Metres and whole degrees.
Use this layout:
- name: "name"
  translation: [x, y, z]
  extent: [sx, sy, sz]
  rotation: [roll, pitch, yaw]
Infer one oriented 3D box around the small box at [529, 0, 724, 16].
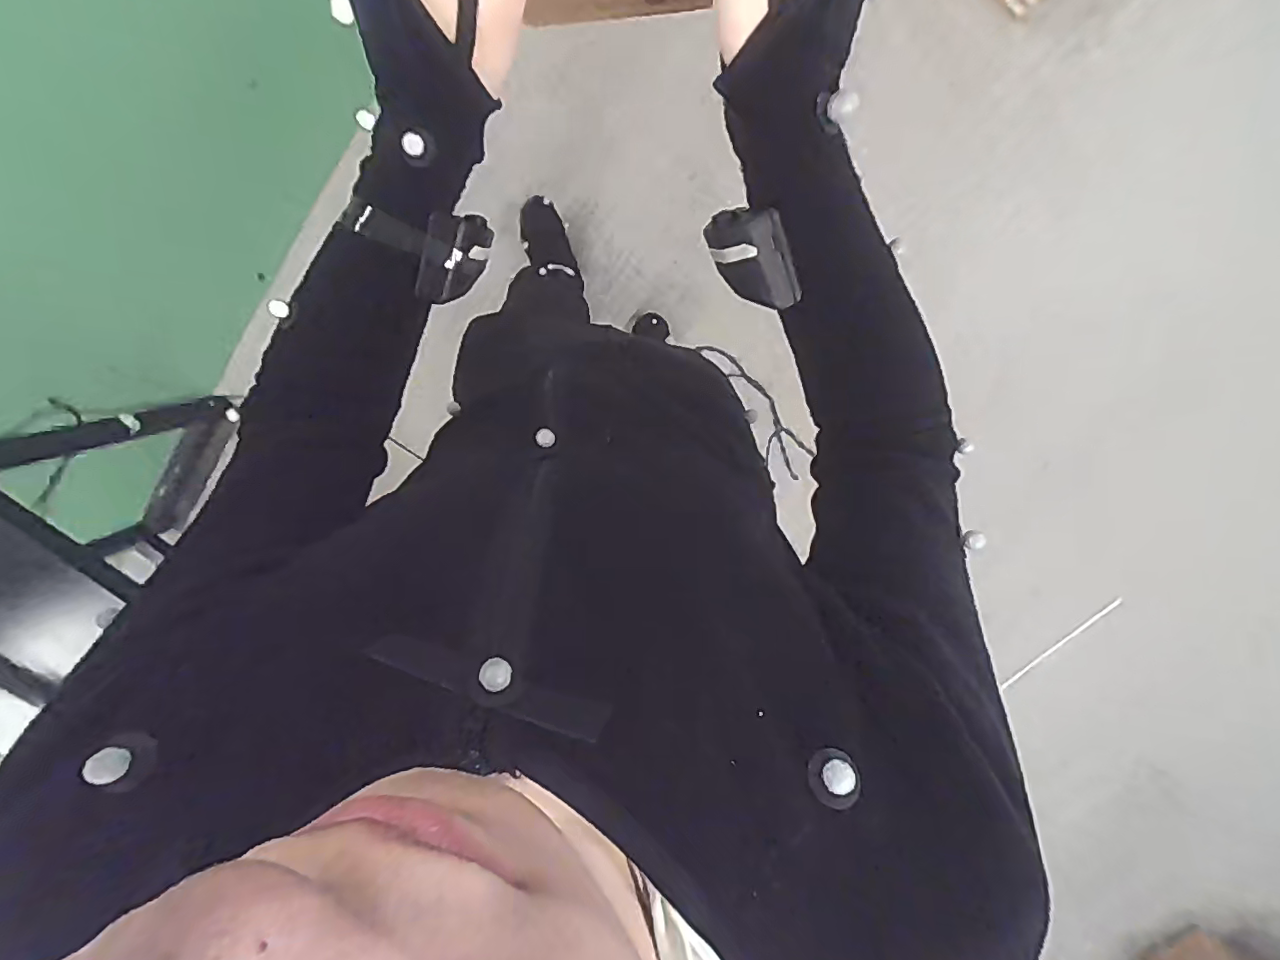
- name: "small box"
  translation: [-0.016, -0.406, 0.293]
  extent: [0.168, 0.176, 0.179]
  rotation: [0, 104, 6]
